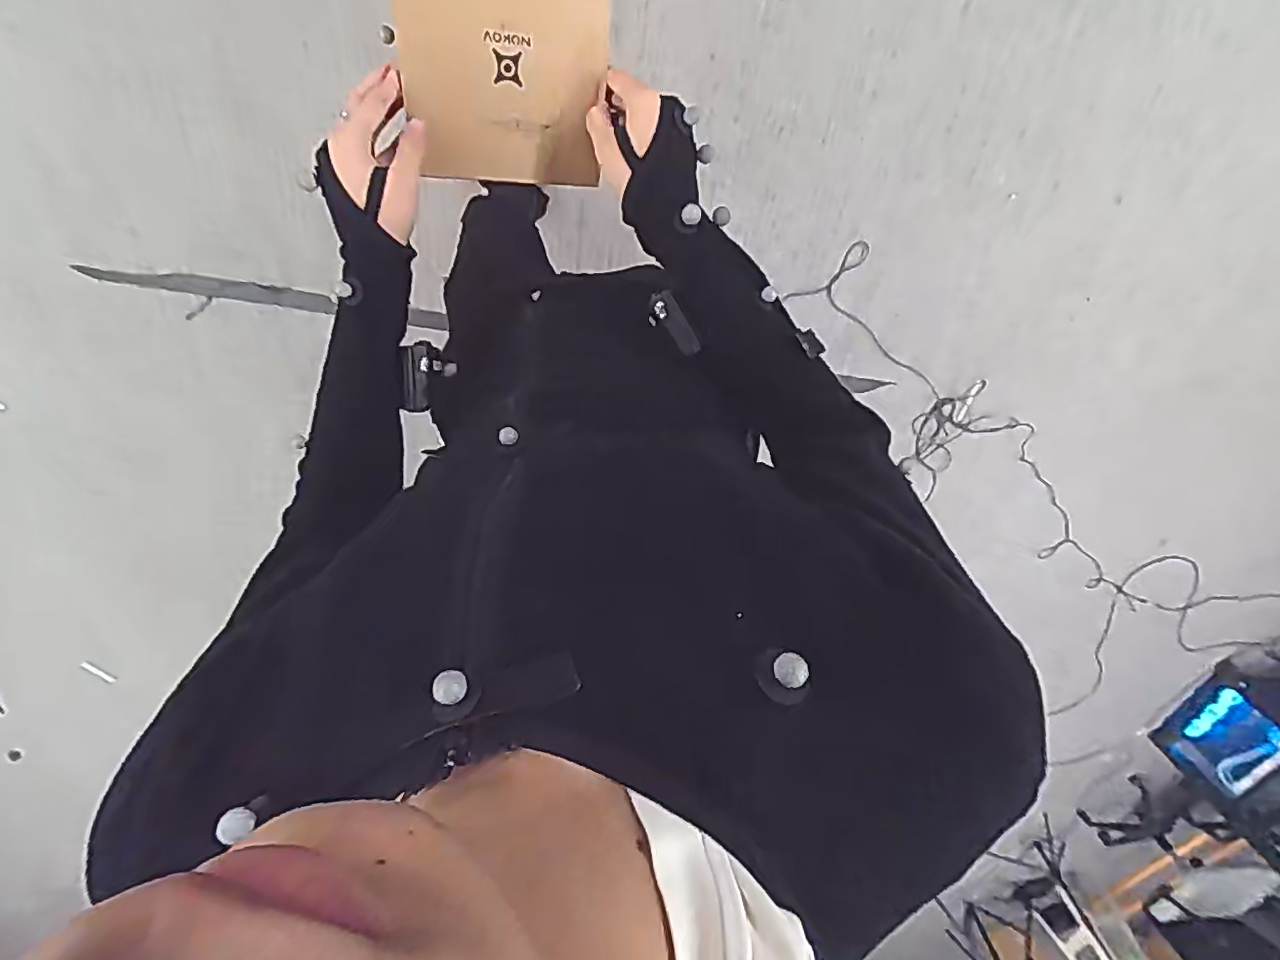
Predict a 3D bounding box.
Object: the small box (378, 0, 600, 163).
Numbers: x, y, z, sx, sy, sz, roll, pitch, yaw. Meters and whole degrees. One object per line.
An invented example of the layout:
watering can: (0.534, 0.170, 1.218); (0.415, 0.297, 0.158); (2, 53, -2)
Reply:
small box: (-0.134, -0.398, 0.471); (0.168, 0.176, 0.179); (-5, 132, -16)
